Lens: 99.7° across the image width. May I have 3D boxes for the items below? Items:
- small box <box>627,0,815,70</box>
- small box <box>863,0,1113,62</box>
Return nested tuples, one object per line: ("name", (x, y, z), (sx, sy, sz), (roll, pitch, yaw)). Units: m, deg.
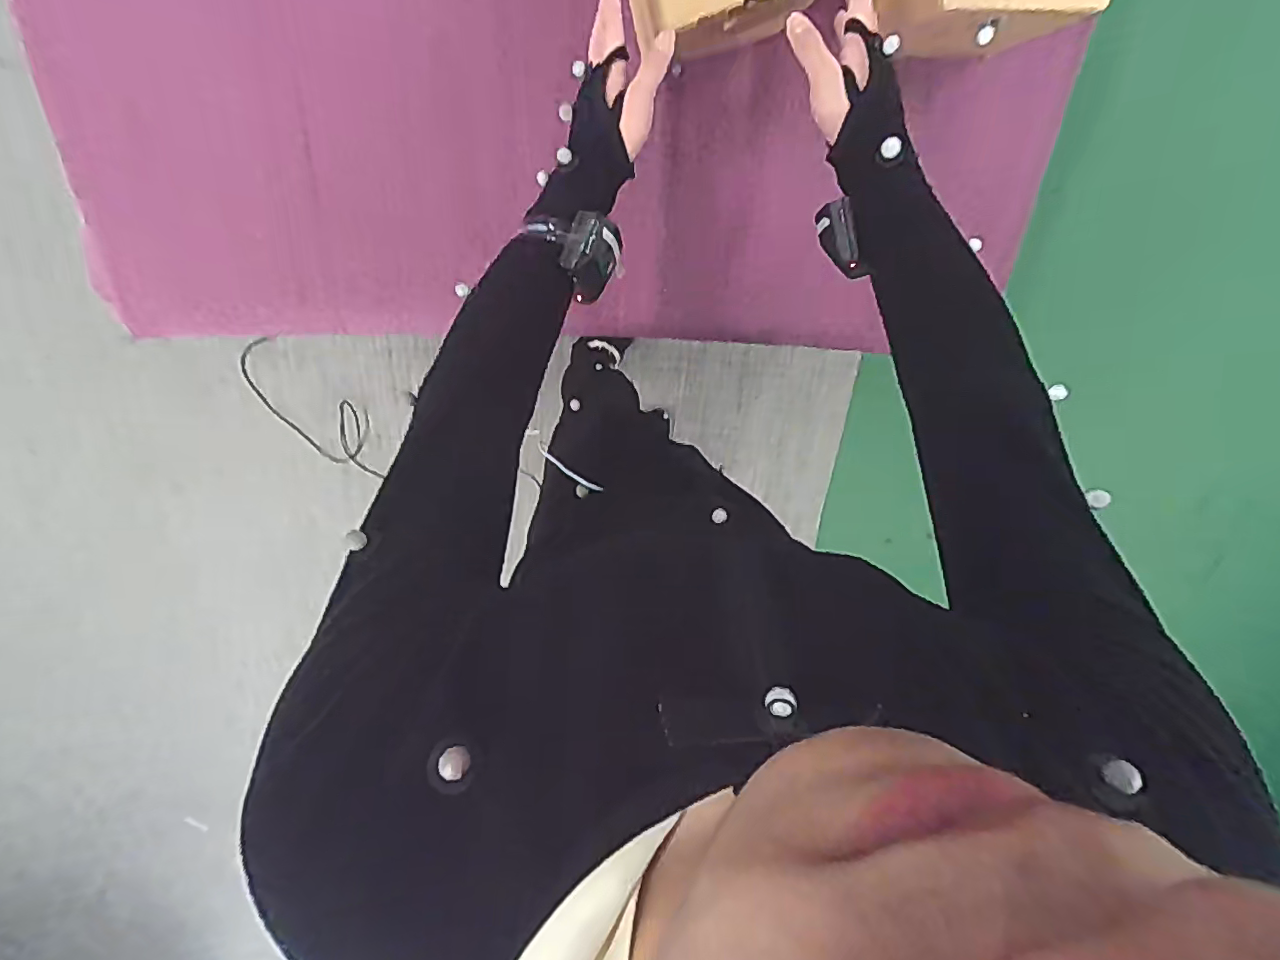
("small box", (0.071, -0.534, 0.529), (0.168, 0.176, 0.179), (-17, 116, 2))
("small box", (0.359, -0.550, 0.553), (0.179, 0.176, 0.168), (-4, 116, -3))
